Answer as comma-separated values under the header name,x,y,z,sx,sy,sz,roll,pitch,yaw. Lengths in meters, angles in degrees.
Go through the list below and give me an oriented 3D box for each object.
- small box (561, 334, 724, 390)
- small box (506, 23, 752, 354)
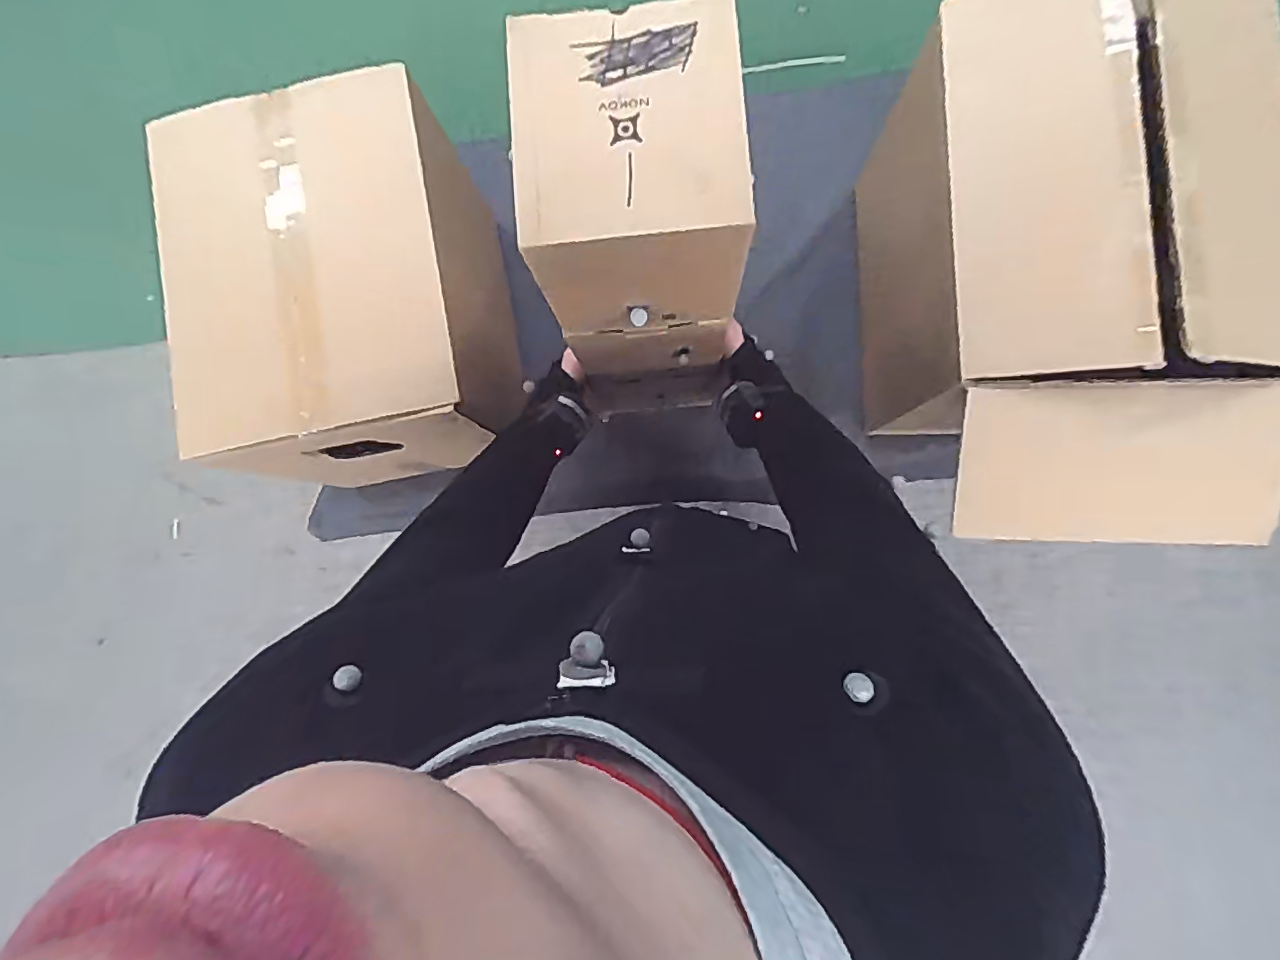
name,x,y,z,sx,sy,sz,roll,pitch,yaw
small box,0.004,-0.206,0.614,0.168,0.176,0.179,-5,84,4
small box,-0.005,-0.219,0.451,0.168,0.176,0.179,-4,87,4
